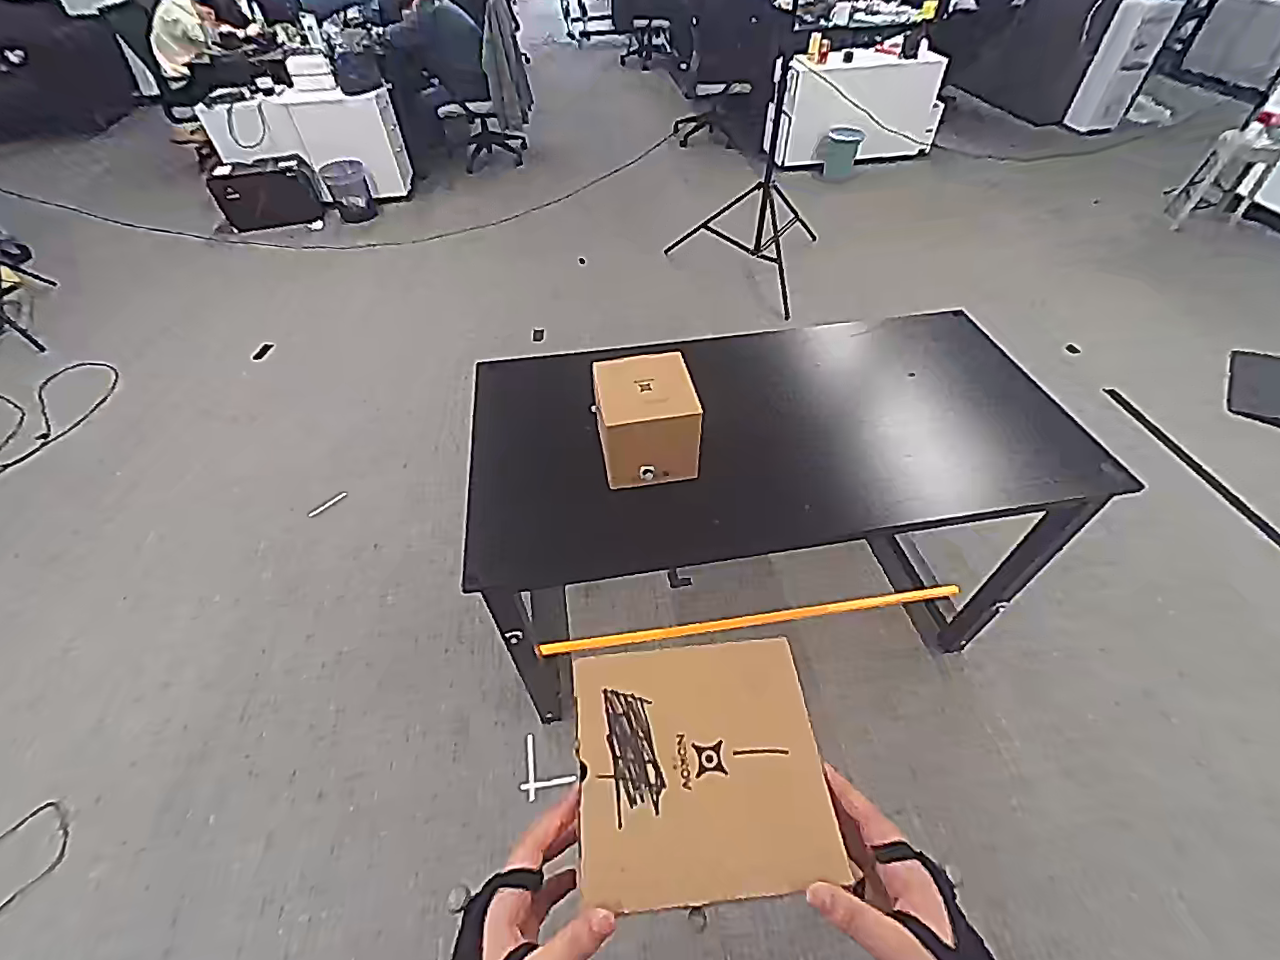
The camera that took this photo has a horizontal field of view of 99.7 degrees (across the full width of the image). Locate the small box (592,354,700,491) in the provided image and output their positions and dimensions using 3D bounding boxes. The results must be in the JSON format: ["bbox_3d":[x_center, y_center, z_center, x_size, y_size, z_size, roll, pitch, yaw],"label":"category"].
[{"bbox_3d":[0.007,-0.105,1.001,0.168,0.176,0.179,-10,50,-5],"label":"small box"}]

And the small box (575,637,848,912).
[{"bbox_3d":[0.044,0.249,0.453,0.179,0.176,0.168,-5,52,-3],"label":"small box"}]
